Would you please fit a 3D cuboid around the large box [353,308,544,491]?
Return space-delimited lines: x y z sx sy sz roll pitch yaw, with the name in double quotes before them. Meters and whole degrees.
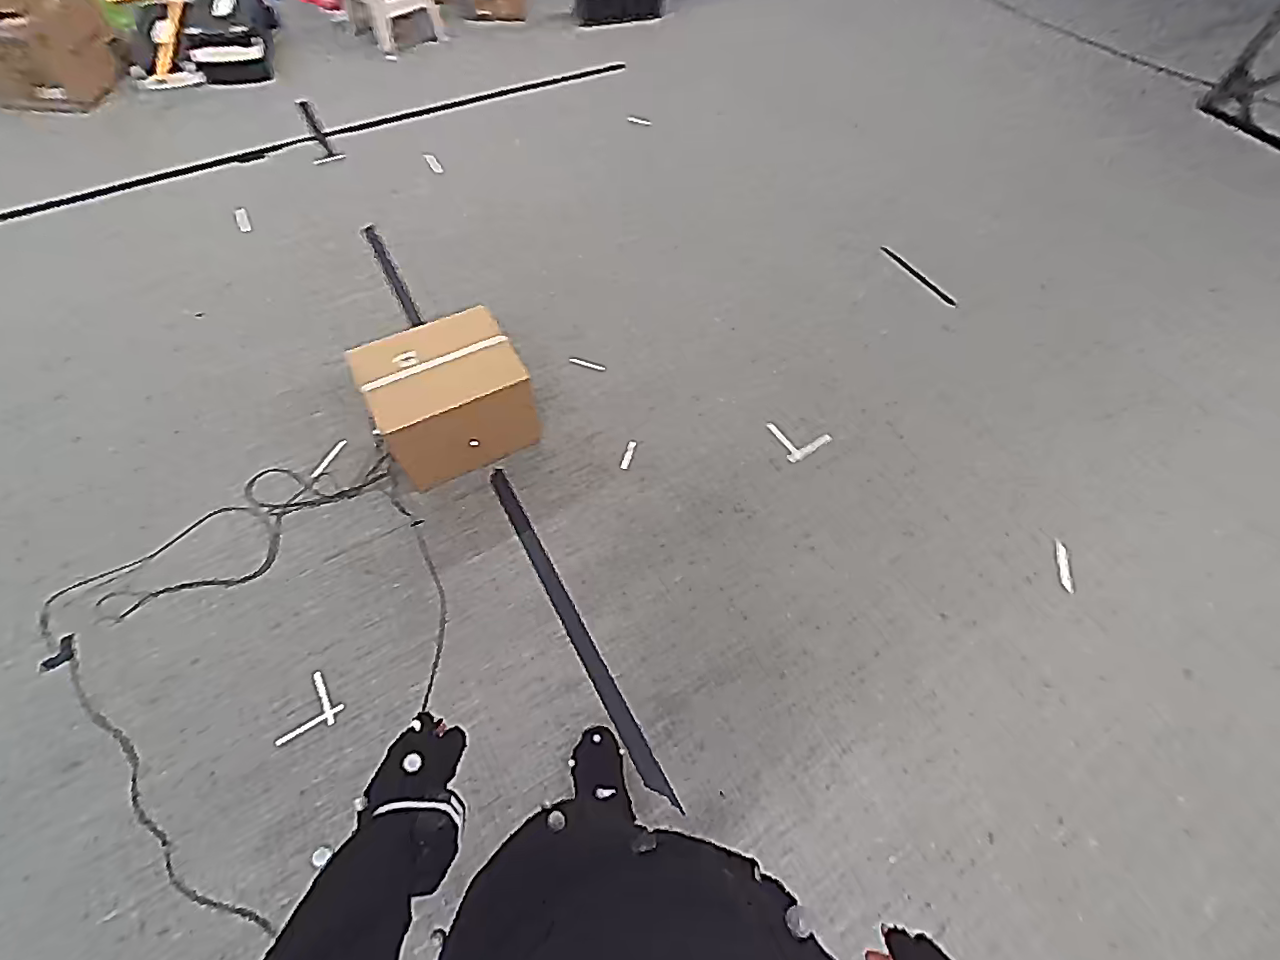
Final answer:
"large box" -0.542 -0.232 1.597 0.408 0.320 0.320 -26 65 -16
